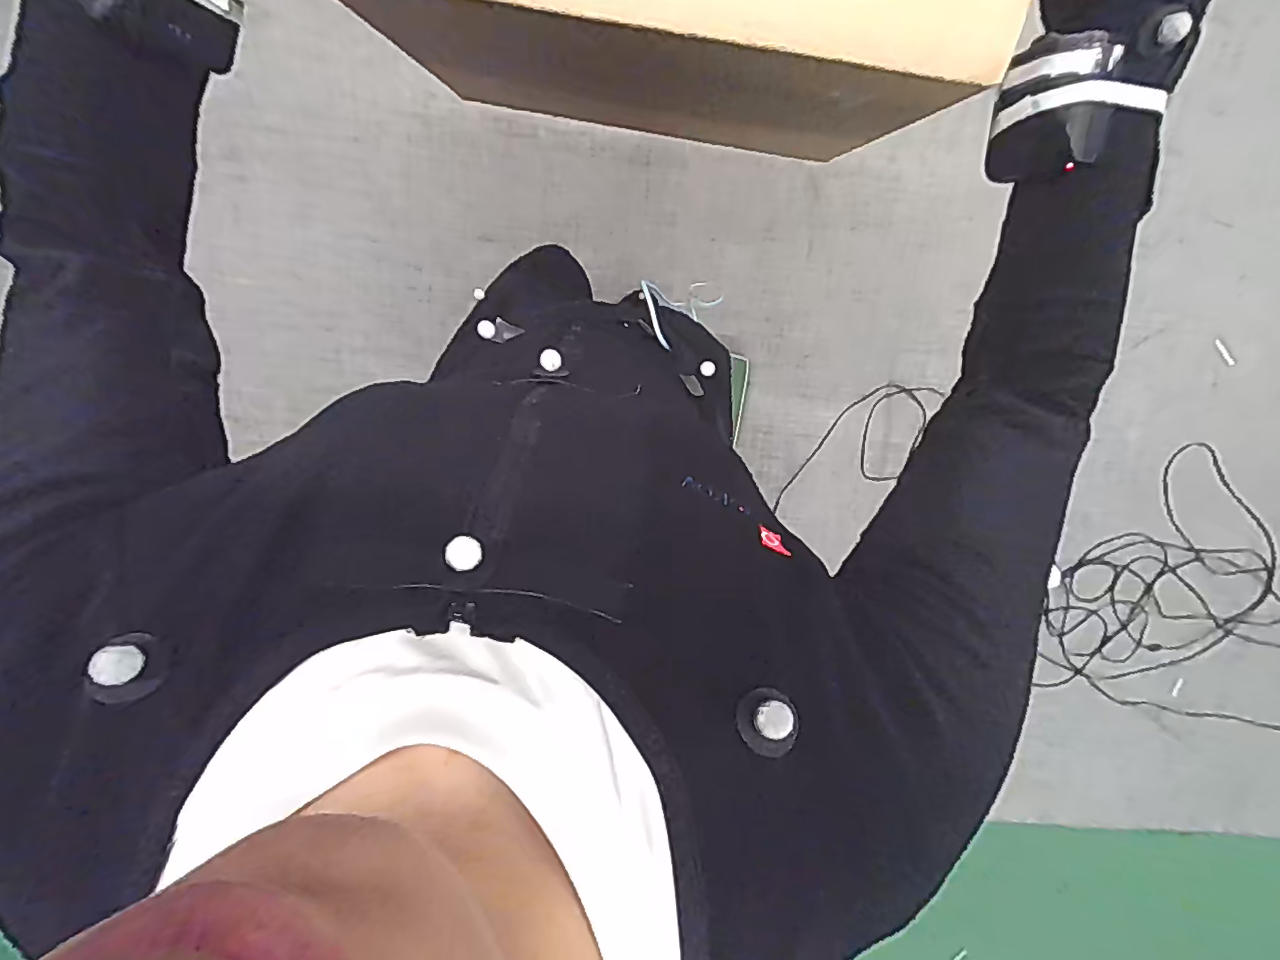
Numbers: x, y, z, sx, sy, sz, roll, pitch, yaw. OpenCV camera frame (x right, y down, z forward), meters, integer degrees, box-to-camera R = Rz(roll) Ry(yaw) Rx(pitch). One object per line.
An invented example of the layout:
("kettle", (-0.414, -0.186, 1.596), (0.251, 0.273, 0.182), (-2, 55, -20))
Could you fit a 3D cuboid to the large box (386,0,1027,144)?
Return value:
("large box", (0.036, -0.467, 0.384), (0.408, 0.320, 0.320), (7, 114, -4))
